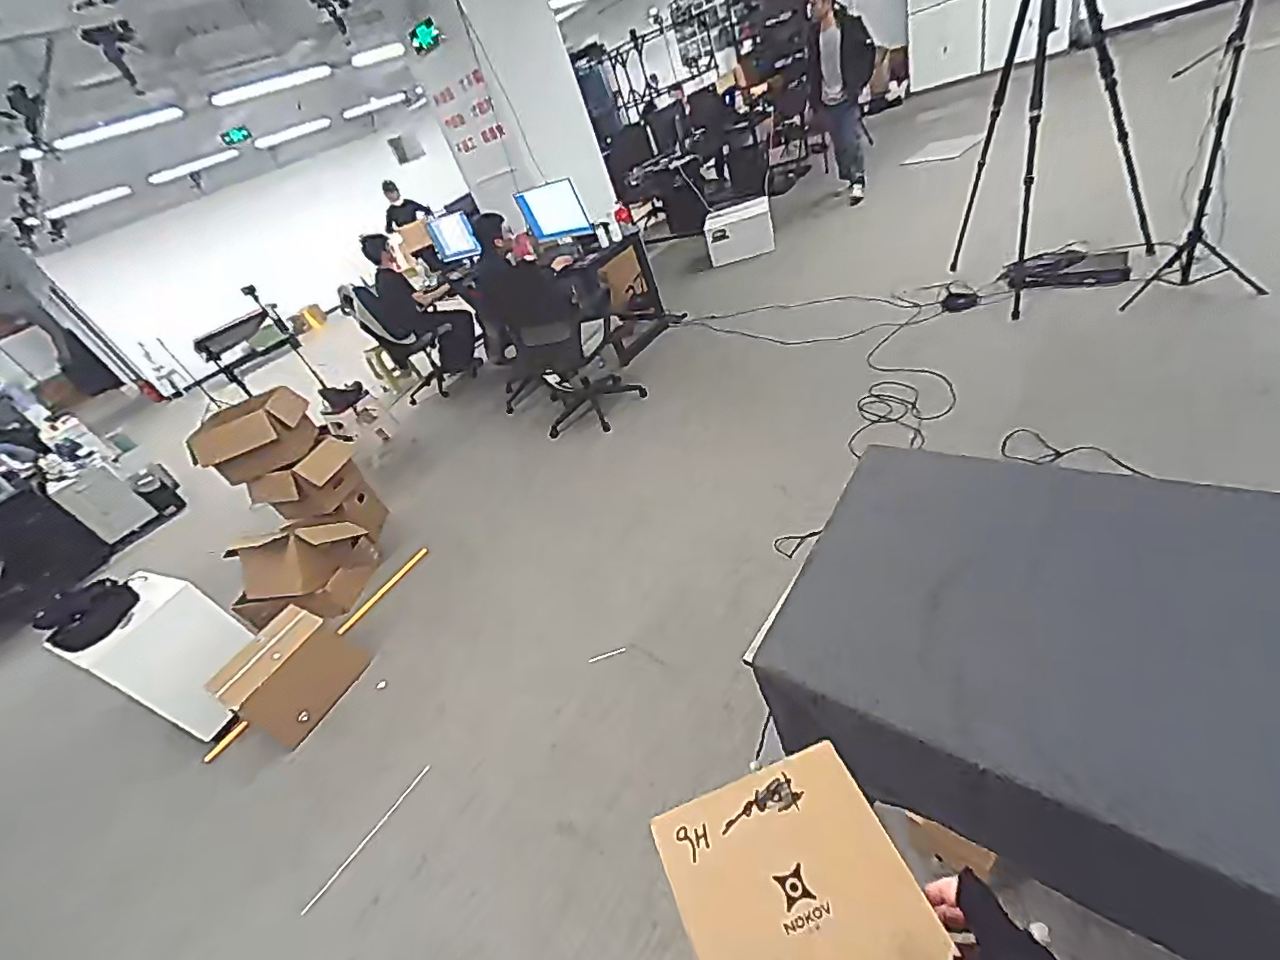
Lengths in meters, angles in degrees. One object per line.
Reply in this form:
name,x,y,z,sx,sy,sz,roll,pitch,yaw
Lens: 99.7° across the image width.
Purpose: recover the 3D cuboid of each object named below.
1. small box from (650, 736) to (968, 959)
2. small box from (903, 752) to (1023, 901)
small box,0.119,0.344,0.428,0.168,0.176,0.179,-18,45,-11
small box,0.687,0.739,1.157,0.179,0.176,0.168,-40,36,-25
